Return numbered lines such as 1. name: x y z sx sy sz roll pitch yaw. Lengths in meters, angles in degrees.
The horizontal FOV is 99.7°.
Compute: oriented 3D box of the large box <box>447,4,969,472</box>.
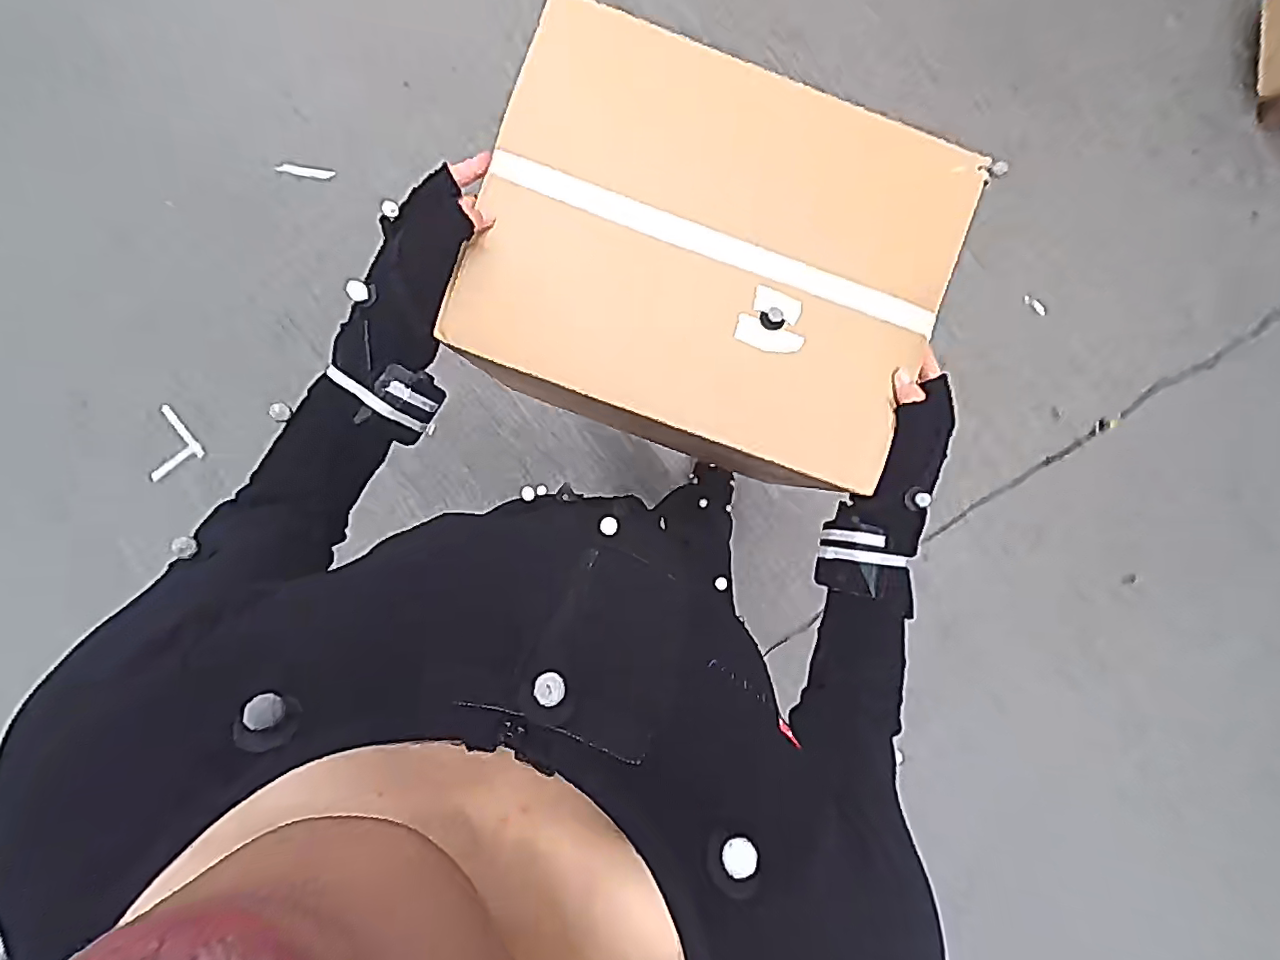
1. large box: 0.056 -0.213 0.624 0.408 0.320 0.320 19 91 -3
